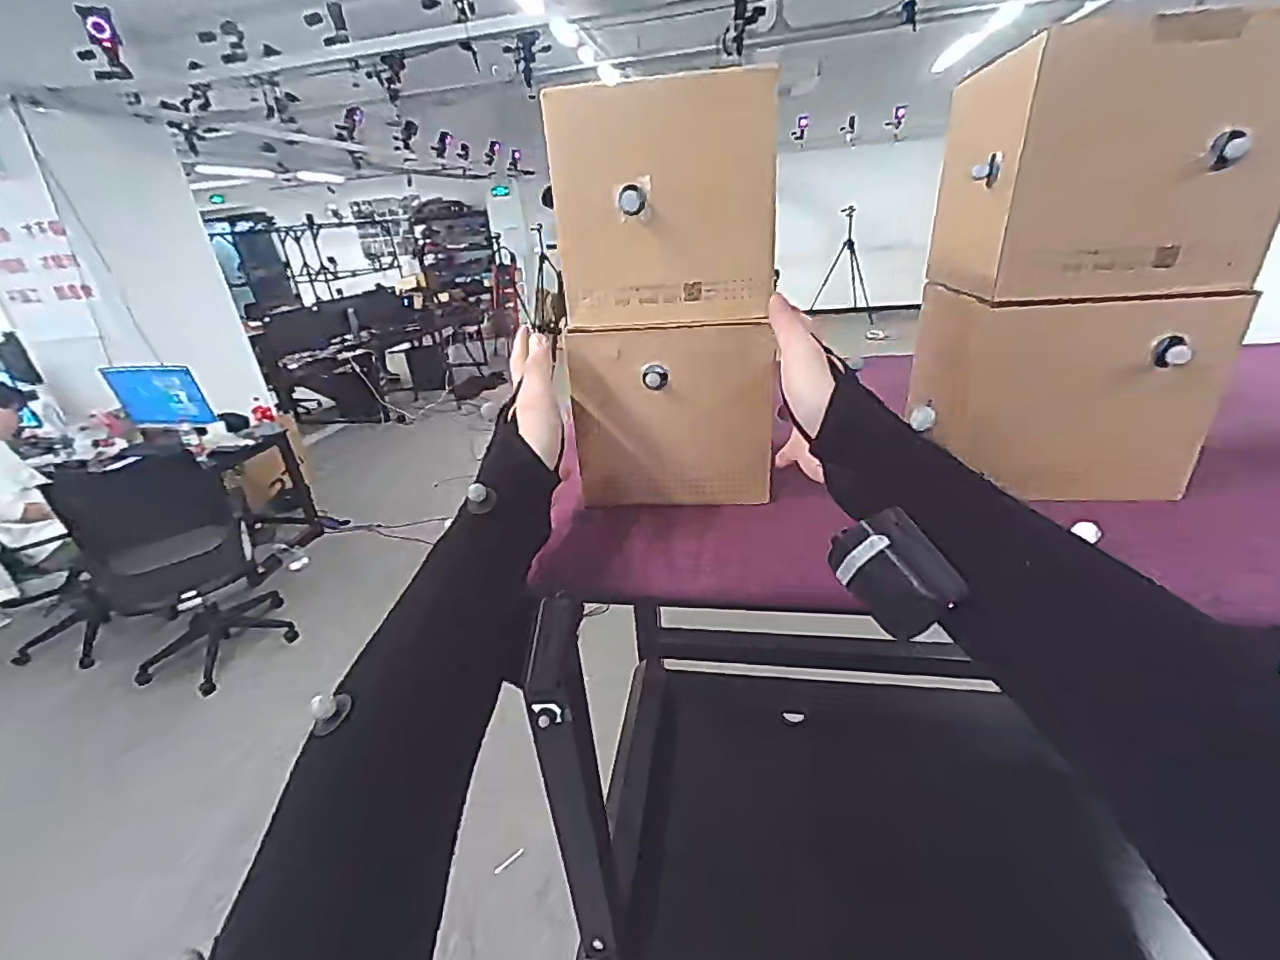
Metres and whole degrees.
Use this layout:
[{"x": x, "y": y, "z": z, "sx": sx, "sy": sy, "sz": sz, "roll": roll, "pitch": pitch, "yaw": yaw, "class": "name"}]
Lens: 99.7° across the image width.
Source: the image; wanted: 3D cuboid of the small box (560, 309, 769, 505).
[{"x": 0.034, "y": -0.083, "z": 0.543, "sx": 0.179, "sy": 0.176, "sz": 0.168, "roll": -1, "pitch": 26, "yaw": 8, "class": "small box"}]

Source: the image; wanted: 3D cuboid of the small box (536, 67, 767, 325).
[{"x": 0.023, "y": -0.232, "z": 0.480, "sx": 0.168, "sy": 0.176, "sz": 0.179, "roll": -2, "pitch": 25, "yaw": 8, "class": "small box"}]

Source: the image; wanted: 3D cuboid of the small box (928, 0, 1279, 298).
[{"x": 0.347, "y": -0.238, "z": 0.426, "sx": 0.168, "sy": 0.176, "sz": 0.179, "roll": 1, "pitch": 26, "yaw": 12, "class": "small box"}]

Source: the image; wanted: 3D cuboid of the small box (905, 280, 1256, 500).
[{"x": 0.362, "y": -0.090, "z": 0.492, "sx": 0.179, "sy": 0.176, "sz": 0.168, "roll": 0, "pitch": 25, "yaw": 12, "class": "small box"}]
